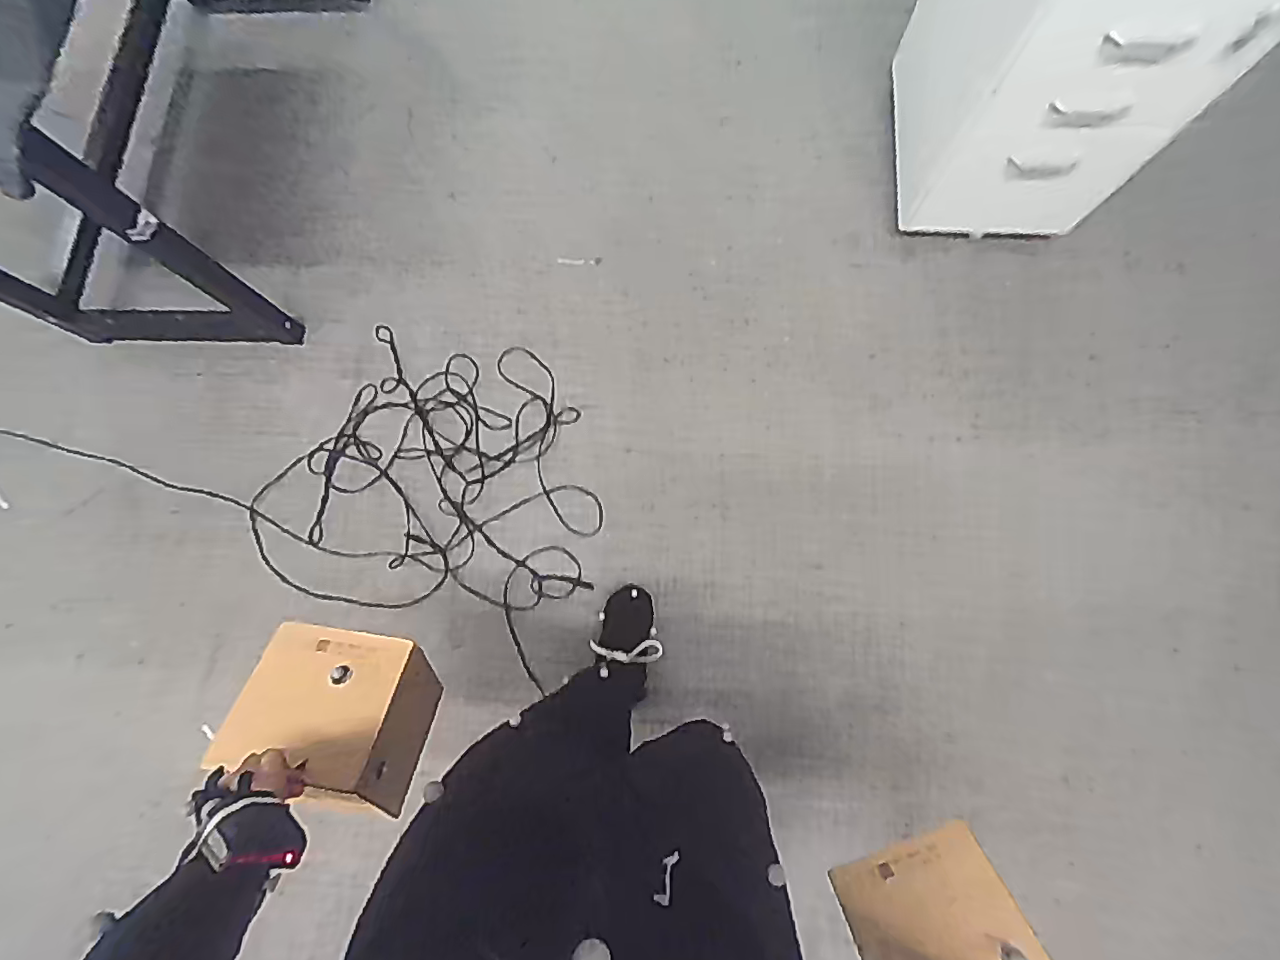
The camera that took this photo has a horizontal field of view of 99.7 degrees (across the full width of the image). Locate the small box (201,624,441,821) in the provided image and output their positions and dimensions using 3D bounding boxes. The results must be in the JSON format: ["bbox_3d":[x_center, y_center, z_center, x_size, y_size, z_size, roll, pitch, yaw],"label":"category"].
[{"bbox_3d":[-0.365,0.299,0.665,0.168,0.179,0.176,9,52,1],"label":"small box"}]
